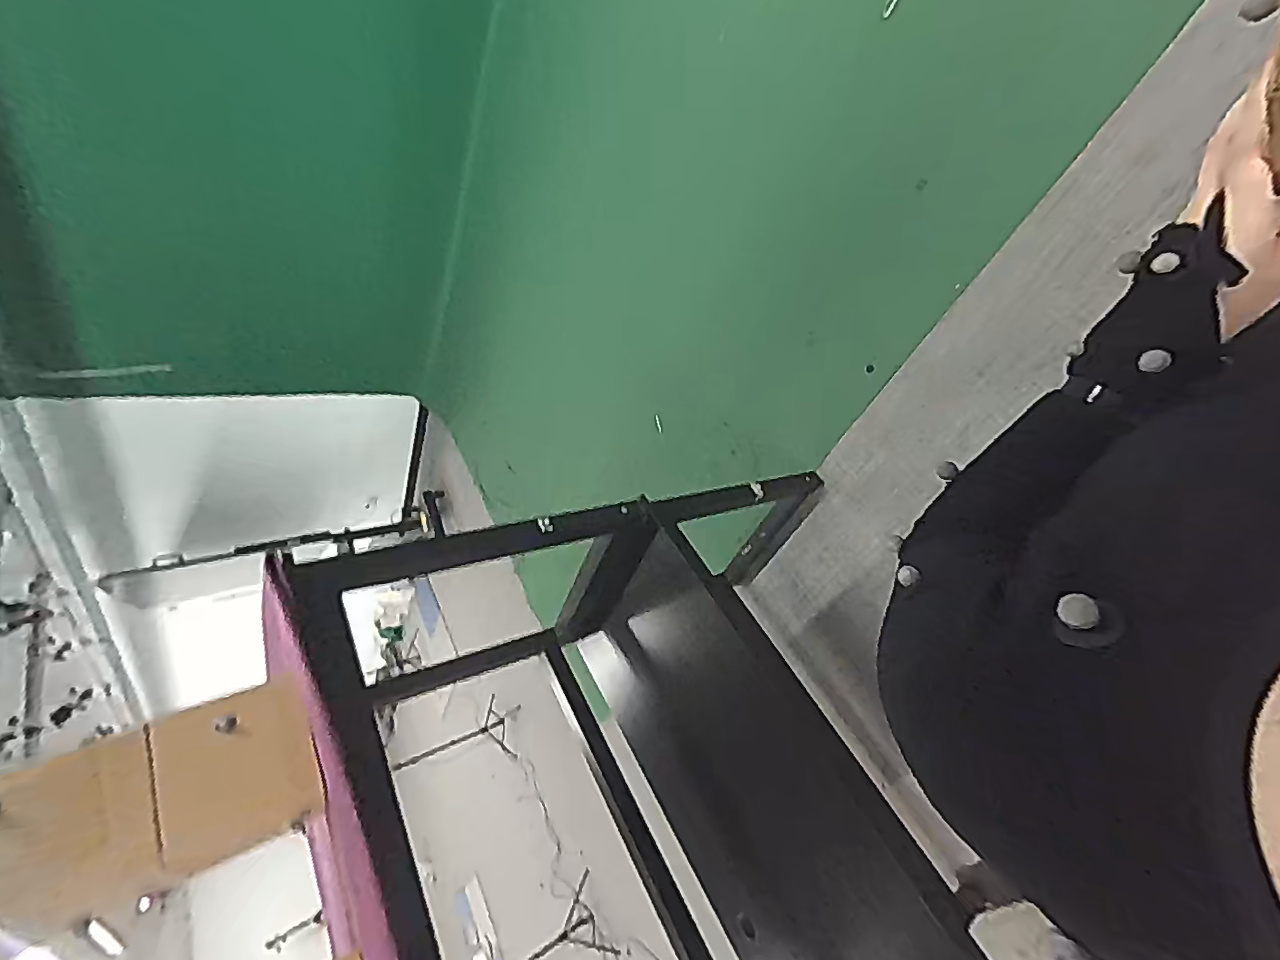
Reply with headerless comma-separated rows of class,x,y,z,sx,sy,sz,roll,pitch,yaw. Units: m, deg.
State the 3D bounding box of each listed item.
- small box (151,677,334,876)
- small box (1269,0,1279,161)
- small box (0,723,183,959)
small box,-0.539,0.396,0.745,0.179,0.176,0.168,56,138,24
small box,0.400,-0.256,0.218,0.179,0.176,0.168,10,101,47
small box,-0.667,0.429,0.650,0.179,0.176,0.168,60,140,23
